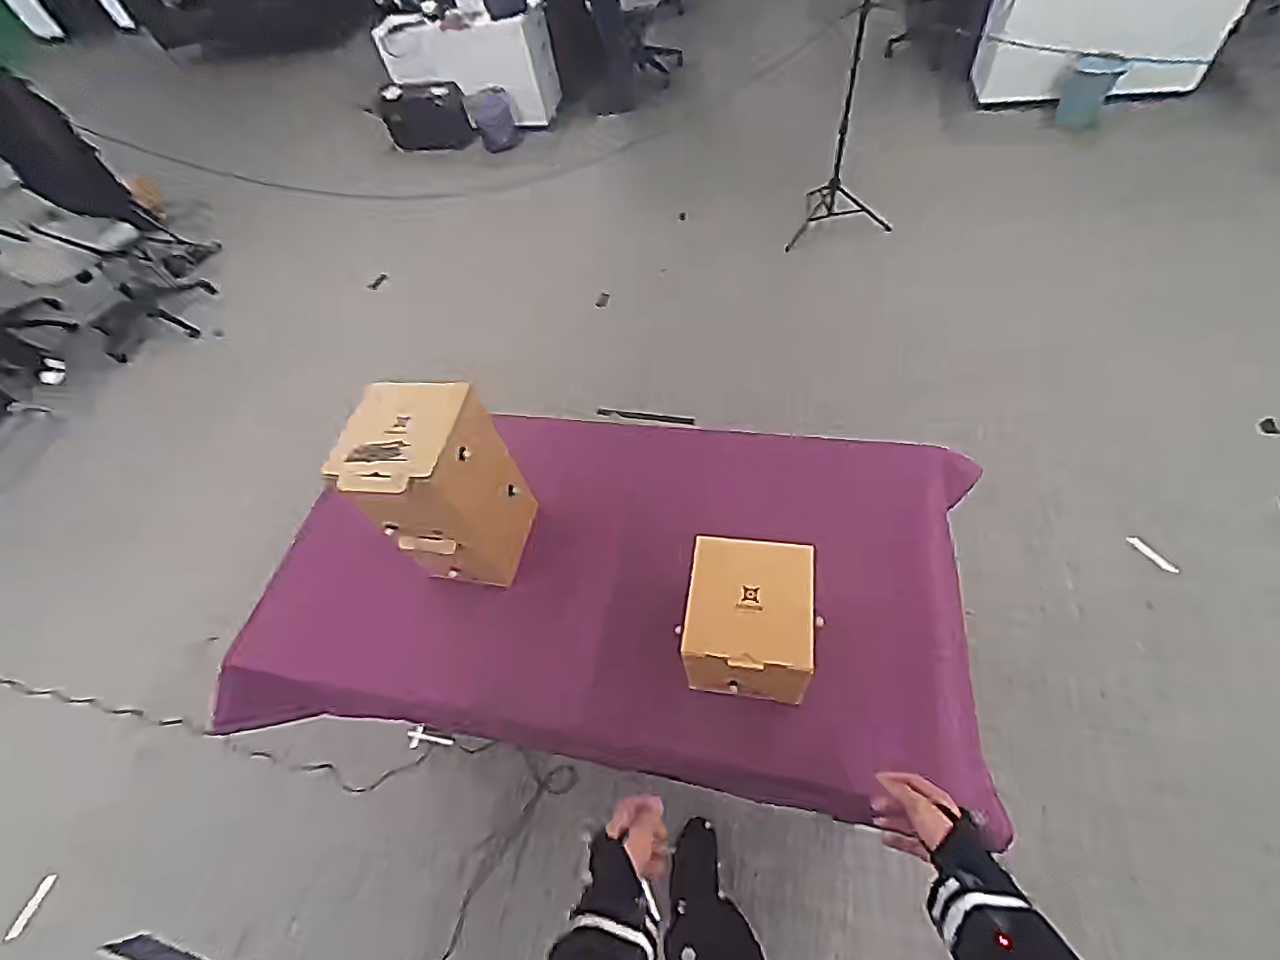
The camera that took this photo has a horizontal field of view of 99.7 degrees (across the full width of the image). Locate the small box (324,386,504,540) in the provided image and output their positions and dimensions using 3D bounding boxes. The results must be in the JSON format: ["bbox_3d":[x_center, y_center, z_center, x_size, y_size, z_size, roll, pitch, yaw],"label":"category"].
[{"bbox_3d":[-0.325,-0.023,0.822,0.168,0.176,0.179,2,55,10],"label":"small box"}]

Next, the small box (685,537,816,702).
[{"bbox_3d":[0.160,0.205,0.790,0.168,0.176,0.179,4,56,12],"label":"small box"}]

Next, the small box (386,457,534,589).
[{"bbox_3d":[-0.302,0.071,0.956,0.168,0.176,0.179,5,57,13],"label":"small box"}]
